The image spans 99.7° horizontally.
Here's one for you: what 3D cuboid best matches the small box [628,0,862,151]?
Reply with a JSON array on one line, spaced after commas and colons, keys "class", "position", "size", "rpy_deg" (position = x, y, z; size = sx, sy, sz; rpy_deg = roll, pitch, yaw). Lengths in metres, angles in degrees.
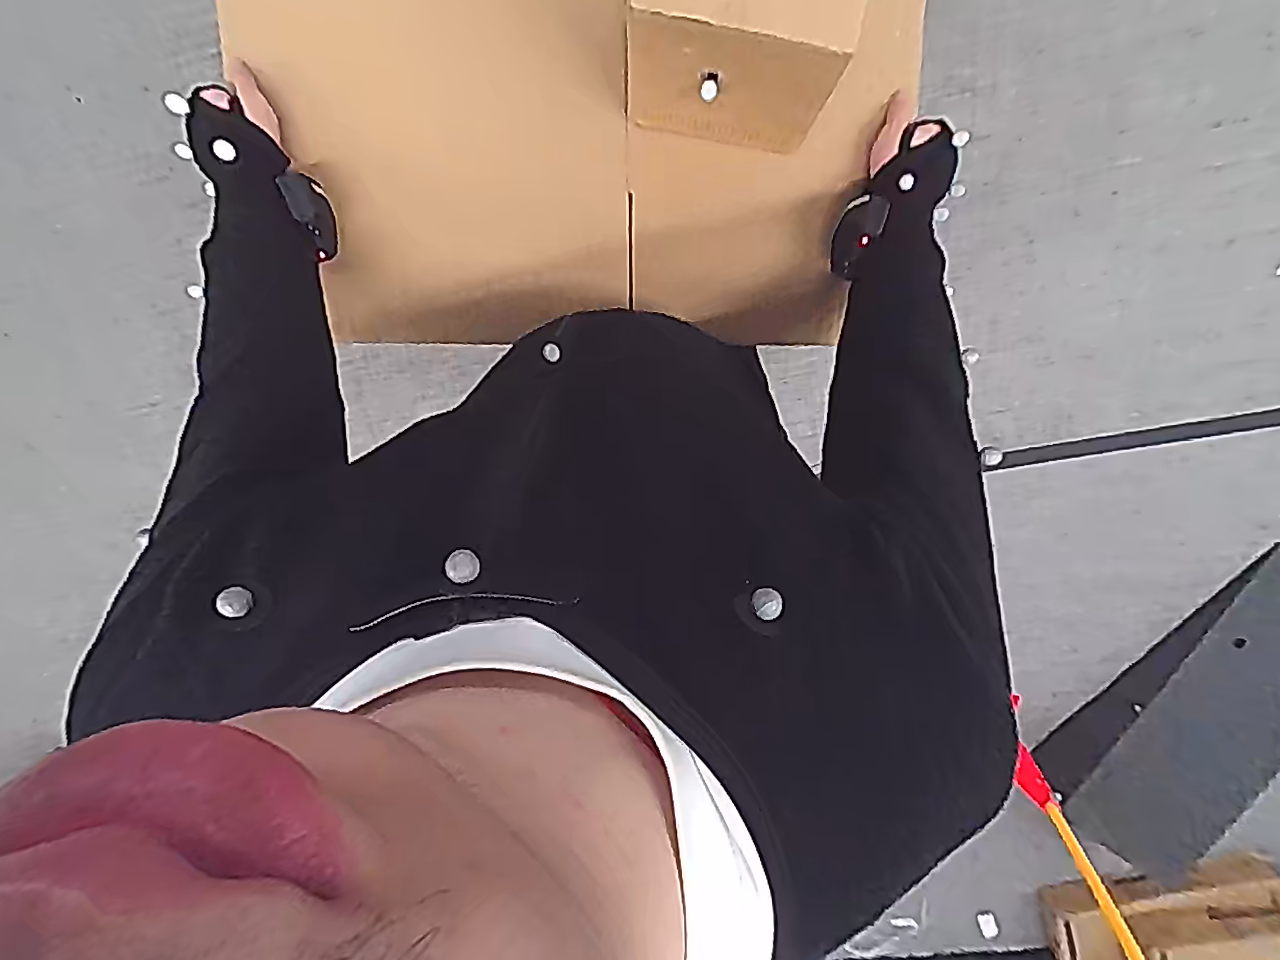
[{"class": "small box", "position": [0.093, -0.426, 0.482], "size": [0.179, 0.176, 0.168], "rpy_deg": [11, 98, 0]}]
